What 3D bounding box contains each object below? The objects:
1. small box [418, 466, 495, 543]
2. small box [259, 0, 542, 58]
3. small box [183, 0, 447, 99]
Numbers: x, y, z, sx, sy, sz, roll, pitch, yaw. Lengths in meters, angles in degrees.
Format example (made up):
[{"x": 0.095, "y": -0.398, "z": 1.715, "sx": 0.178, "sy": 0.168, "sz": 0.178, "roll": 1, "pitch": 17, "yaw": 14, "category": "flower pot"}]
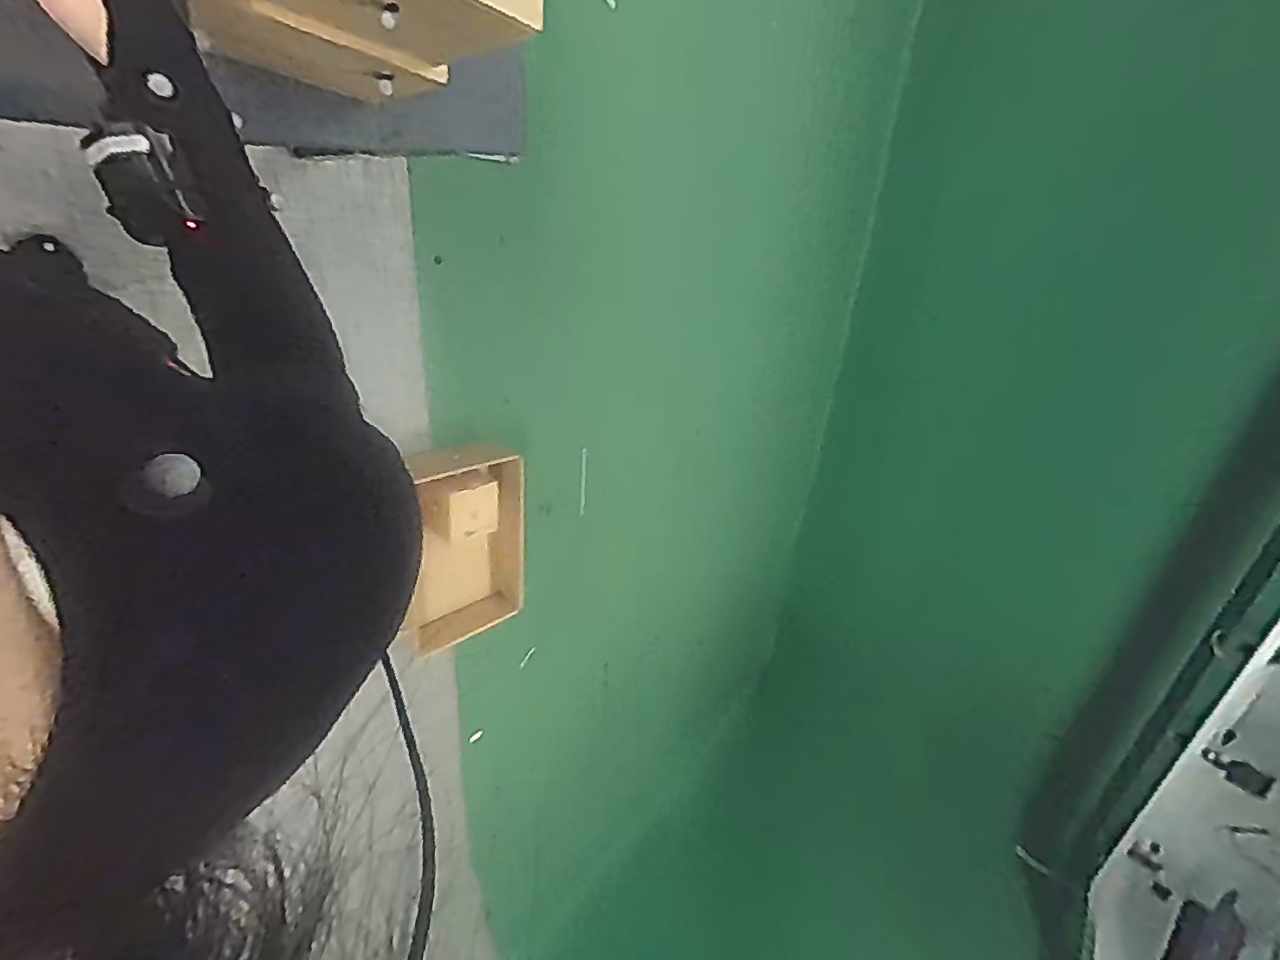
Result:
[{"x": -0.567, "y": 0.066, "z": 1.666, "sx": 0.168, "sy": 0.176, "sz": 0.179, "roll": -18, "pitch": 123, "yaw": -46, "category": "small box"}, {"x": -0.189, "y": -0.440, "z": 0.395, "sx": 0.179, "sy": 0.176, "sz": 0.168, "roll": -17, "pitch": 120, "yaw": -46, "category": "small box"}, {"x": -0.303, "y": -0.482, "z": 0.506, "sx": 0.179, "sy": 0.176, "sz": 0.168, "roll": -16, "pitch": 119, "yaw": -47, "category": "small box"}]
